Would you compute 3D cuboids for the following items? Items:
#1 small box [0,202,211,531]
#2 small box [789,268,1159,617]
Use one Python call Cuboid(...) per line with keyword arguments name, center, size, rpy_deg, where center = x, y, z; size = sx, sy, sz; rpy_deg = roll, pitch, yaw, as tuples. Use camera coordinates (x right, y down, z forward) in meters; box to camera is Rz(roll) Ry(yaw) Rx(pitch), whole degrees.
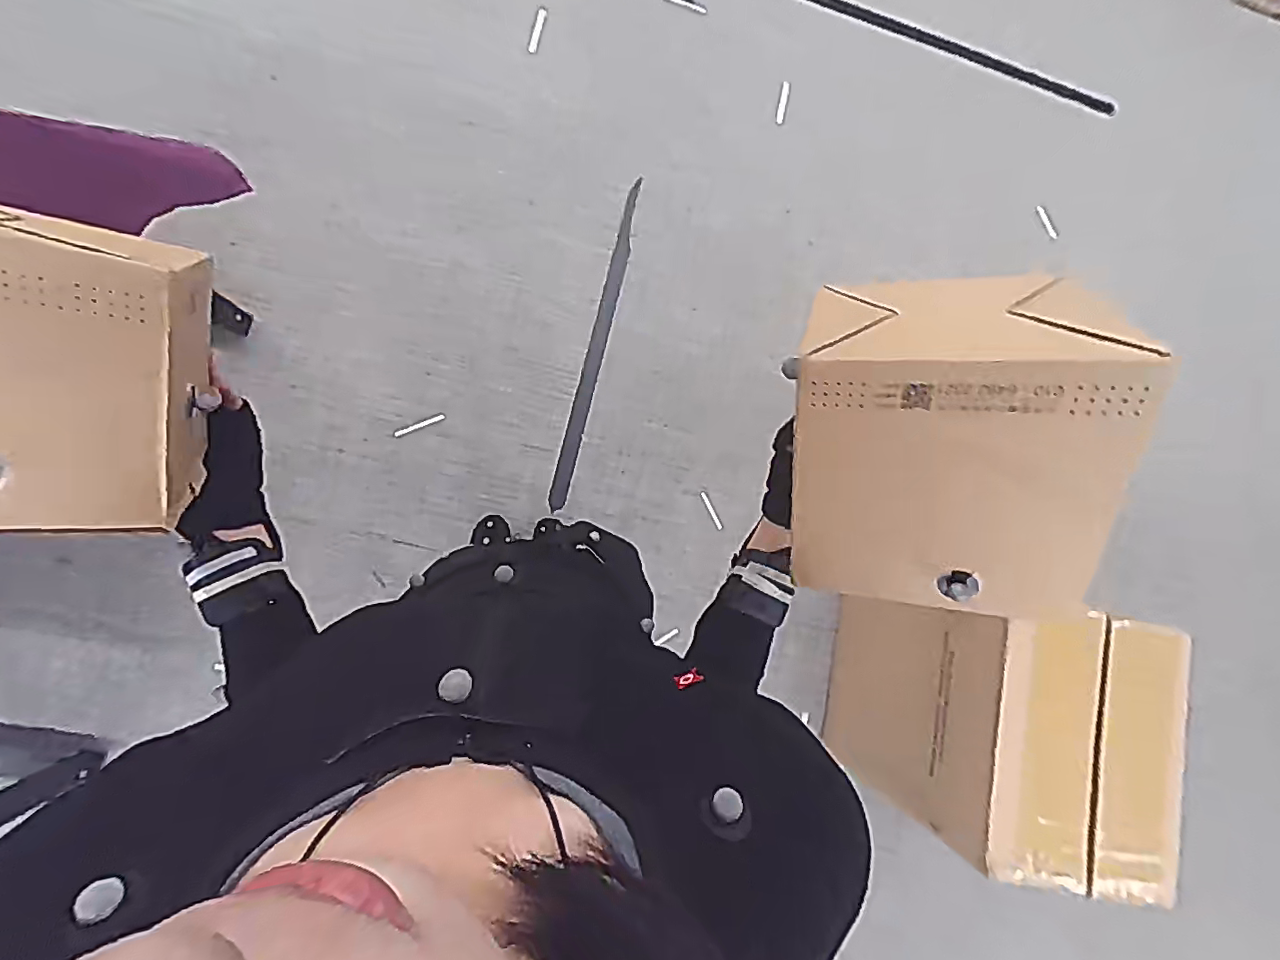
Cuboid(name="small box", center=(-0.385, -0.080, 0.333), size=(0.179, 0.168, 0.176), rpy_deg=(5, 108, -32))
Cuboid(name="small box", center=(0.197, -0.039, 0.369), size=(0.168, 0.179, 0.176), rpy_deg=(4, 123, 20))
